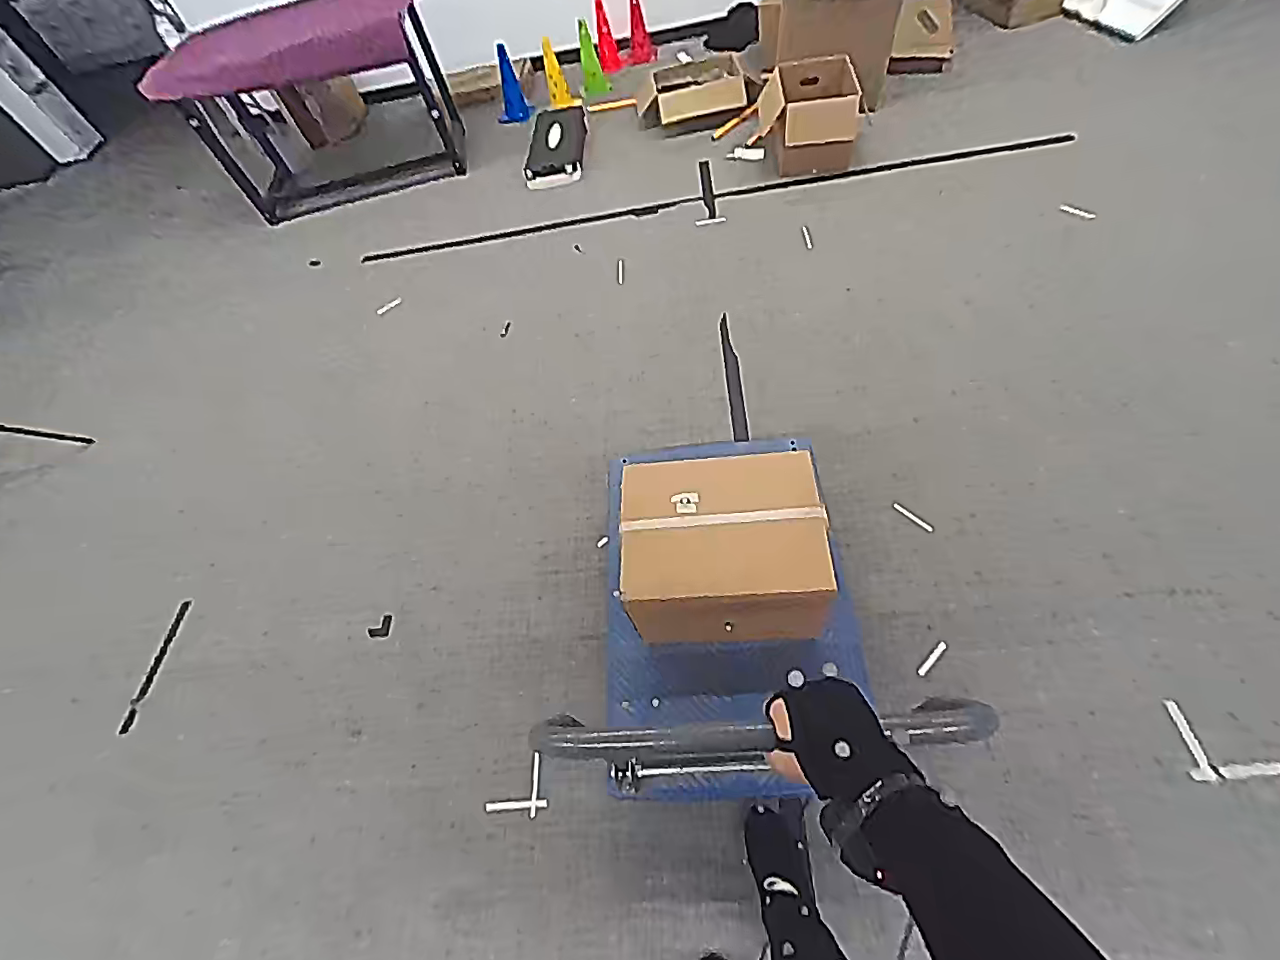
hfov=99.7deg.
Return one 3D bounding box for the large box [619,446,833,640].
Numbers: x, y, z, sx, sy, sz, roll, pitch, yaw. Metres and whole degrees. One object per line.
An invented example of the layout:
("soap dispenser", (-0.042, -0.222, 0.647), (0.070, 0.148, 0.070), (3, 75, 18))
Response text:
("large box", (0.180, 0.155, 1.206), (0.408, 0.320, 0.320), (-6, 56, 8))
